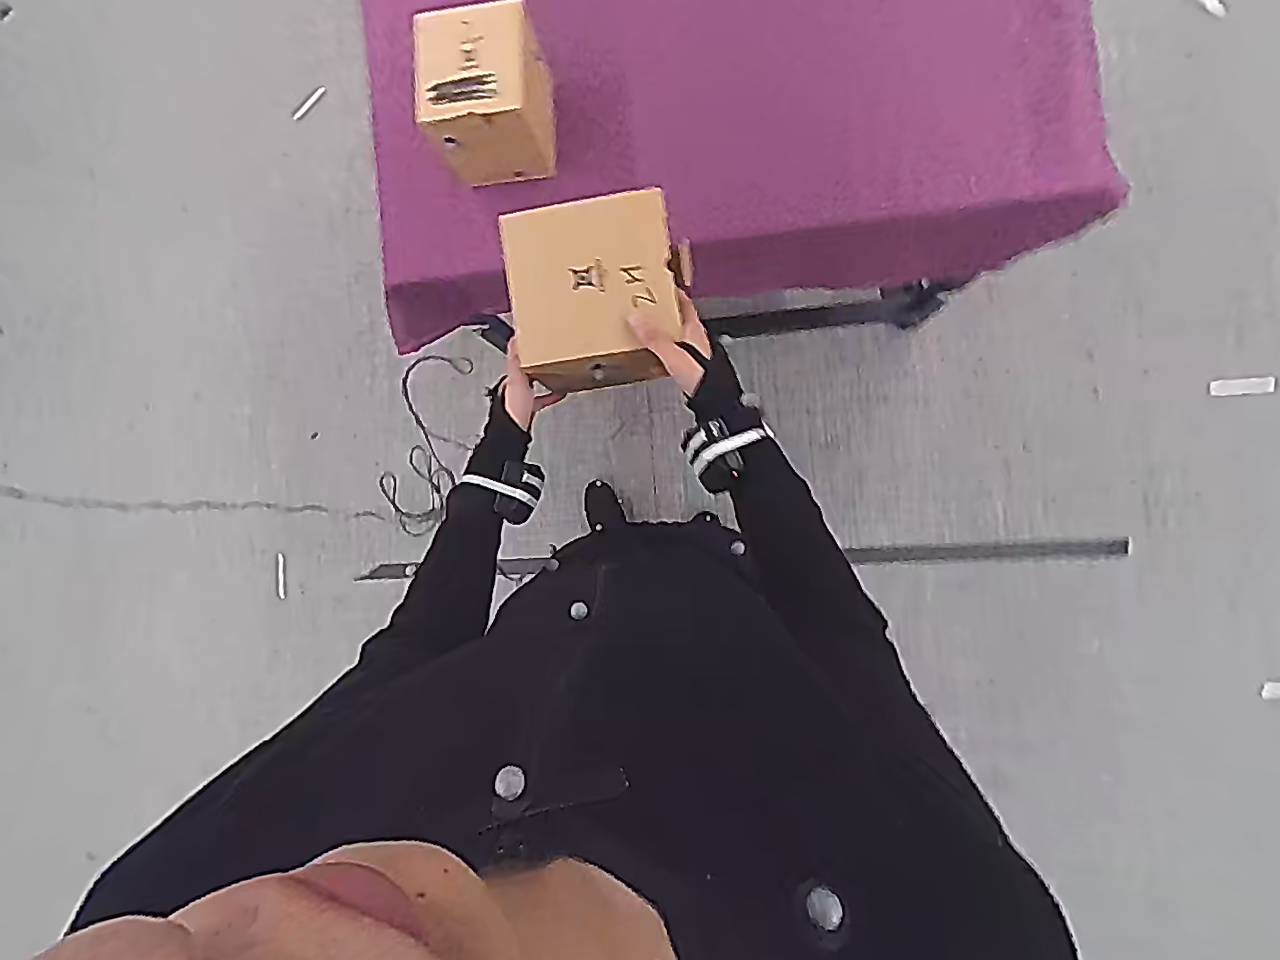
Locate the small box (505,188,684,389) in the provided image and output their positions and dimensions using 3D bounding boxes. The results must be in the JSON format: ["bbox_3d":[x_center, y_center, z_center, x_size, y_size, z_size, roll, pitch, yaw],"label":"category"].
[{"bbox_3d":[-0.044,-0.212,0.645,0.179,0.176,0.168,-8,89,2],"label":"small box"}]
